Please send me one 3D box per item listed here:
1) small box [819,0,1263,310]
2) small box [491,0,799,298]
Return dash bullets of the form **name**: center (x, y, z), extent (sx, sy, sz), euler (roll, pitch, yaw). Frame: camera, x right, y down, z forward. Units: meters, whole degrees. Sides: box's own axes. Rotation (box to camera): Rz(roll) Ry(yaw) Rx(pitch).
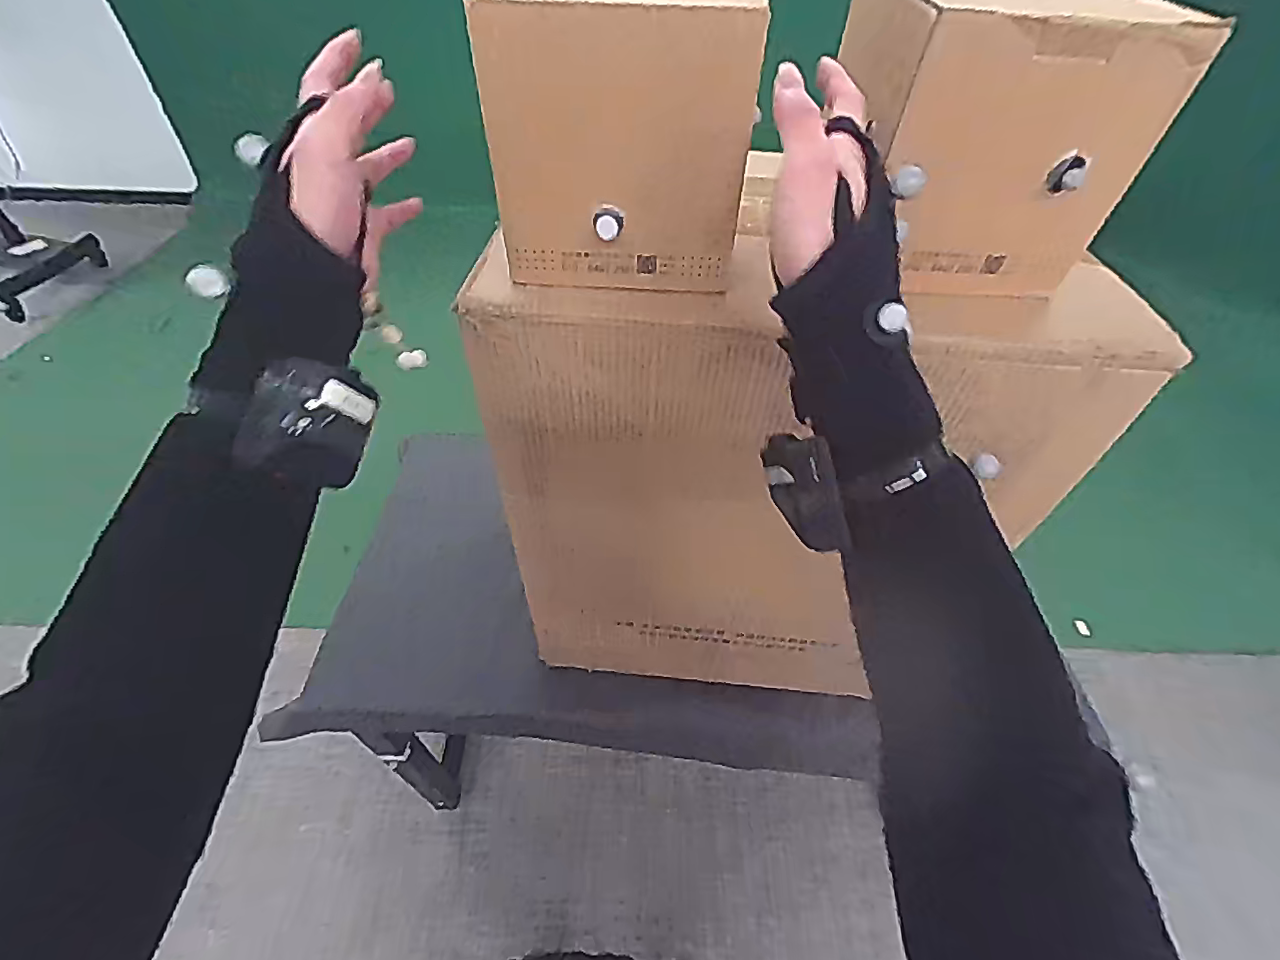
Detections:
- **small box**: center (0.253, -0.246, 0.403), extent (0.168, 0.176, 0.179), euler (3, 50, -4)
- **small box**: center (0.007, -0.257, 0.390), extent (0.168, 0.176, 0.179), euler (6, 50, 3)
